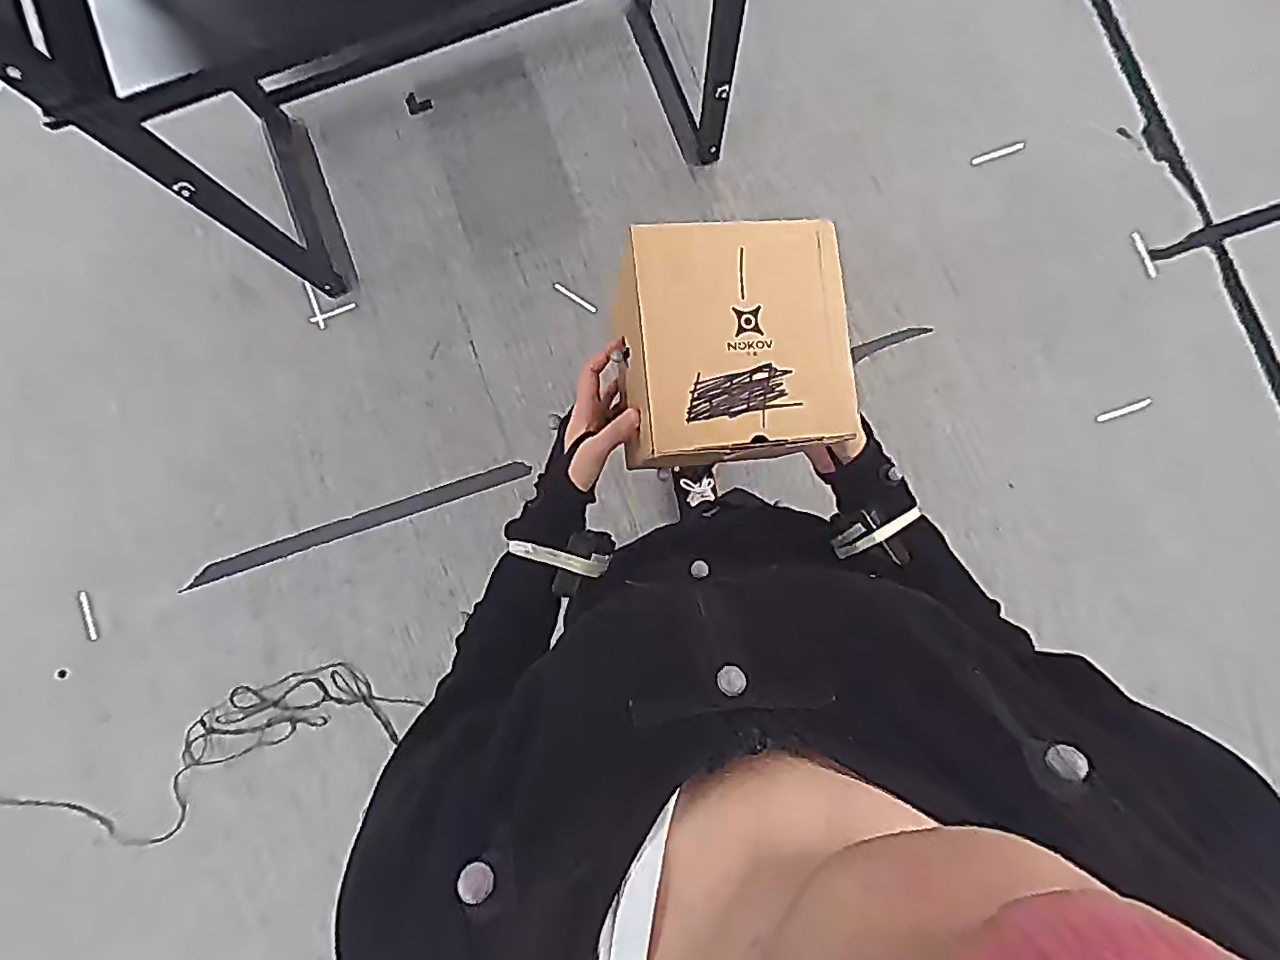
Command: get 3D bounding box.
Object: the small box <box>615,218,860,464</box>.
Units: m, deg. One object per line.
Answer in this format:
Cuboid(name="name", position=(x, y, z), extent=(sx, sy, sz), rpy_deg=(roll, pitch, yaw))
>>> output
Cuboid(name="small box", position=(0.072, -0.108, 0.489), extent=(0.168, 0.176, 0.179), rpy_deg=(-6, 87, -9))
